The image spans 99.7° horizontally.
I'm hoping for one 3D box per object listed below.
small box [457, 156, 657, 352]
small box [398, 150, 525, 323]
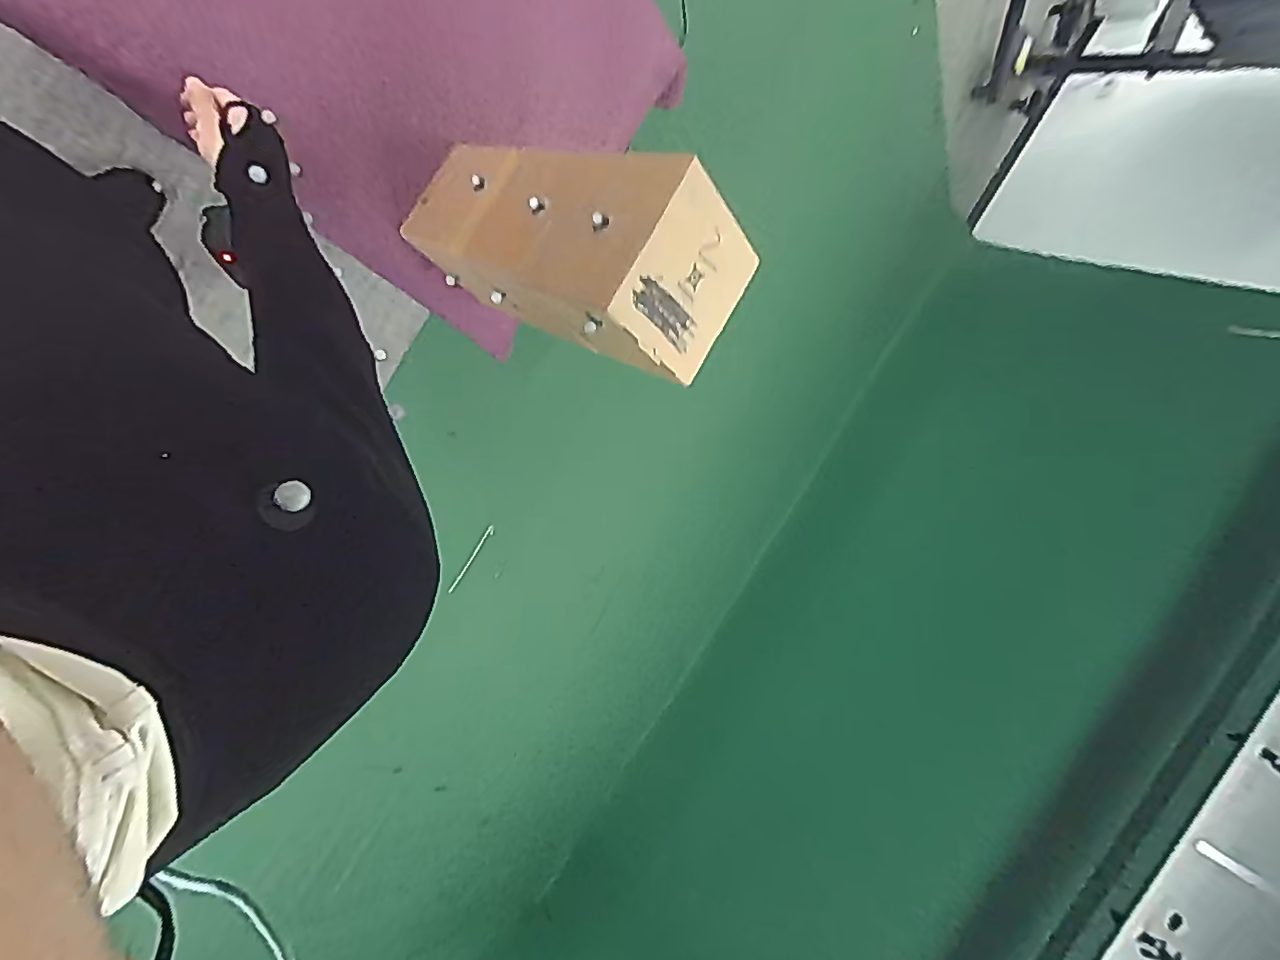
[{"bbox_3d":[-0.115,-0.310,0.736,0.179,0.176,0.168,-57,141,-2],"label":"small box"},{"bbox_3d":[-0.229,-0.377,0.833,0.168,0.176,0.179,-57,143,-2],"label":"small box"}]
